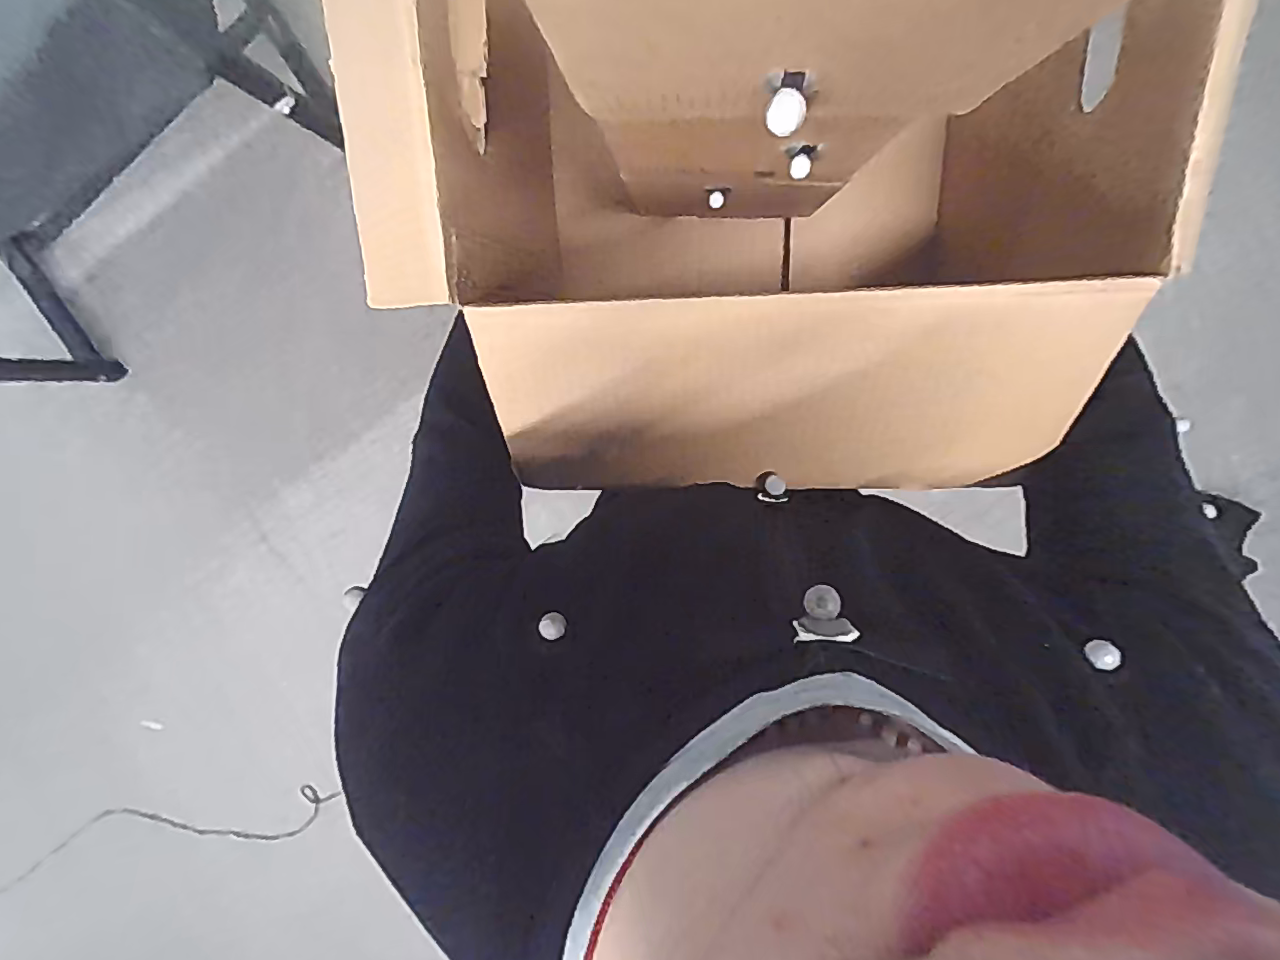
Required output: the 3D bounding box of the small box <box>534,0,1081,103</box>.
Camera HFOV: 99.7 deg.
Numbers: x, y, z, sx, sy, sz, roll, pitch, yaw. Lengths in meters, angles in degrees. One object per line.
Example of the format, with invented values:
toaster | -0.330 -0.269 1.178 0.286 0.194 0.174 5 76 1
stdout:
small box | 0.053 -0.221 0.138 0.179 0.176 0.168 2 108 3
